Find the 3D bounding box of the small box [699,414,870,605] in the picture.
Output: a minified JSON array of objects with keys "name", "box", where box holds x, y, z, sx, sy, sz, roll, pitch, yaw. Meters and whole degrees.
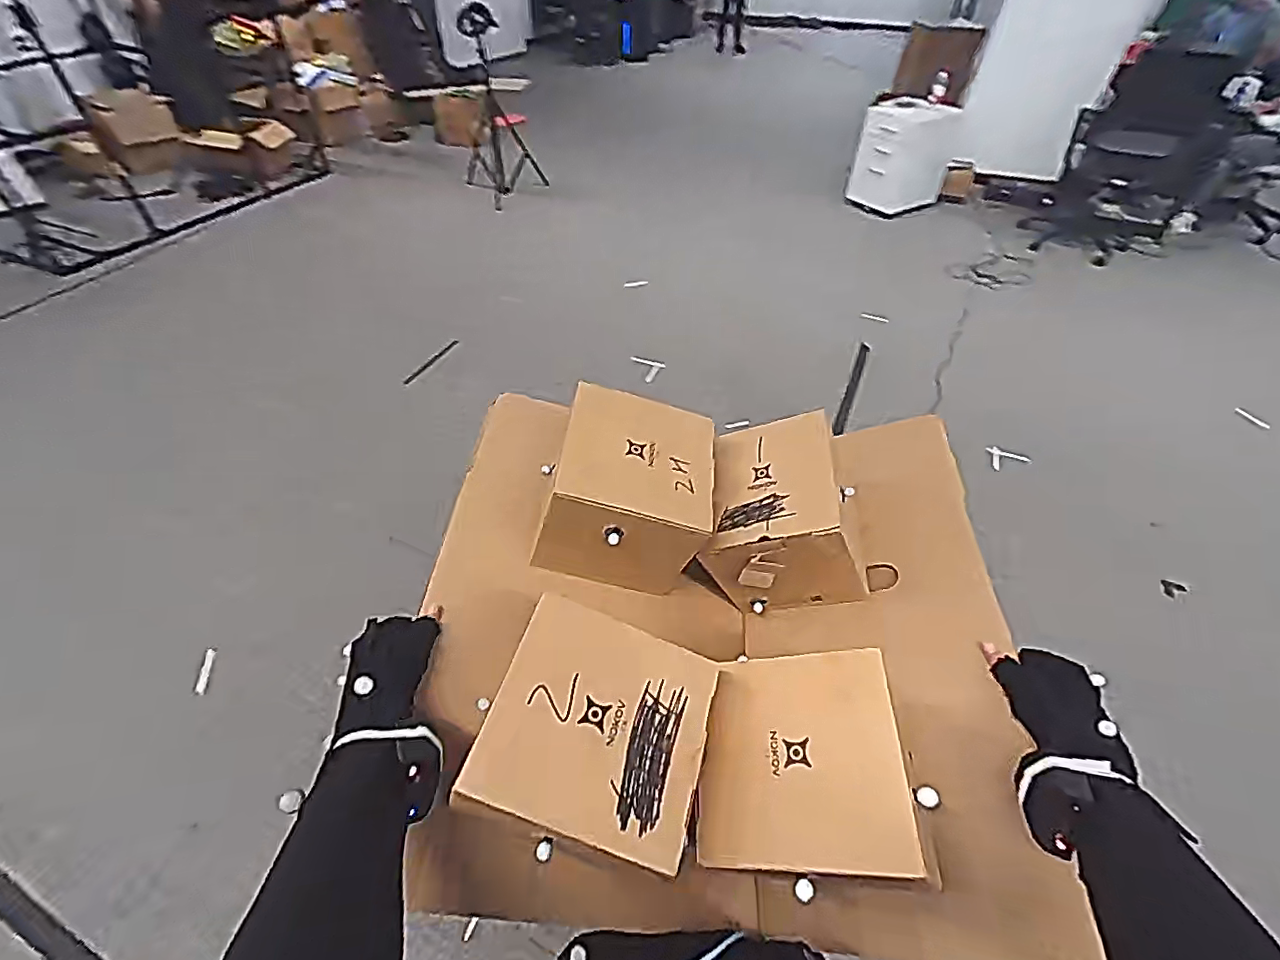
[{"name":"small box","box":[0.187,0.049,0.691,0.168,0.176,0.179,-12,47,26]}]
